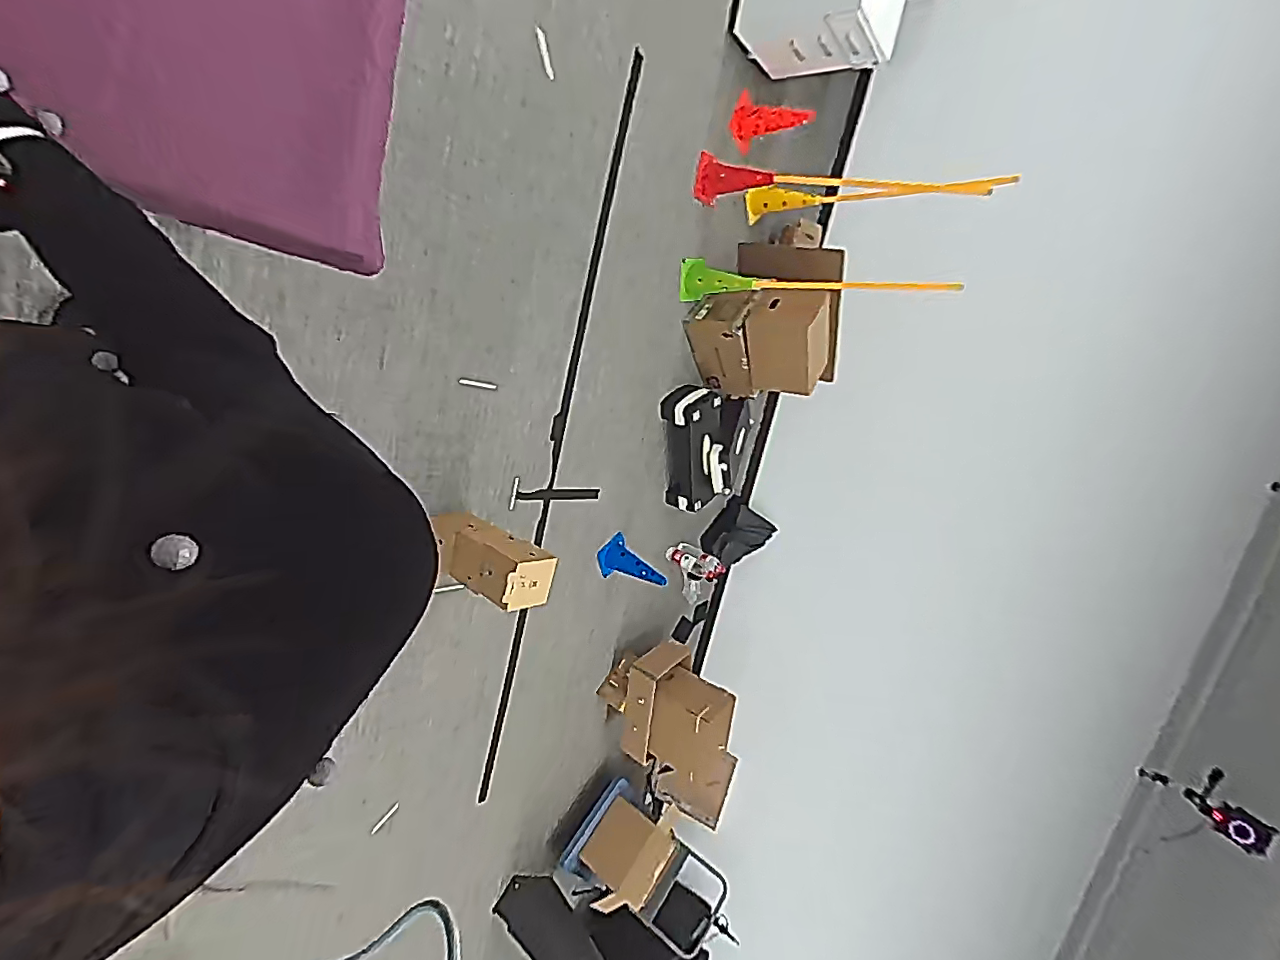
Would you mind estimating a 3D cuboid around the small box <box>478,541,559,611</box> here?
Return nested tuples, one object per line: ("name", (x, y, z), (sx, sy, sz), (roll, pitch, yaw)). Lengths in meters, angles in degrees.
("small box", (-0.398, 0.305, 1.766), (0.179, 0.176, 0.168), (2, 105, -54))

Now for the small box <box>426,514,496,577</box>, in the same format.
("small box", (-0.653, 0.232, 1.965), (0.179, 0.176, 0.168), (-6, 112, -53))
